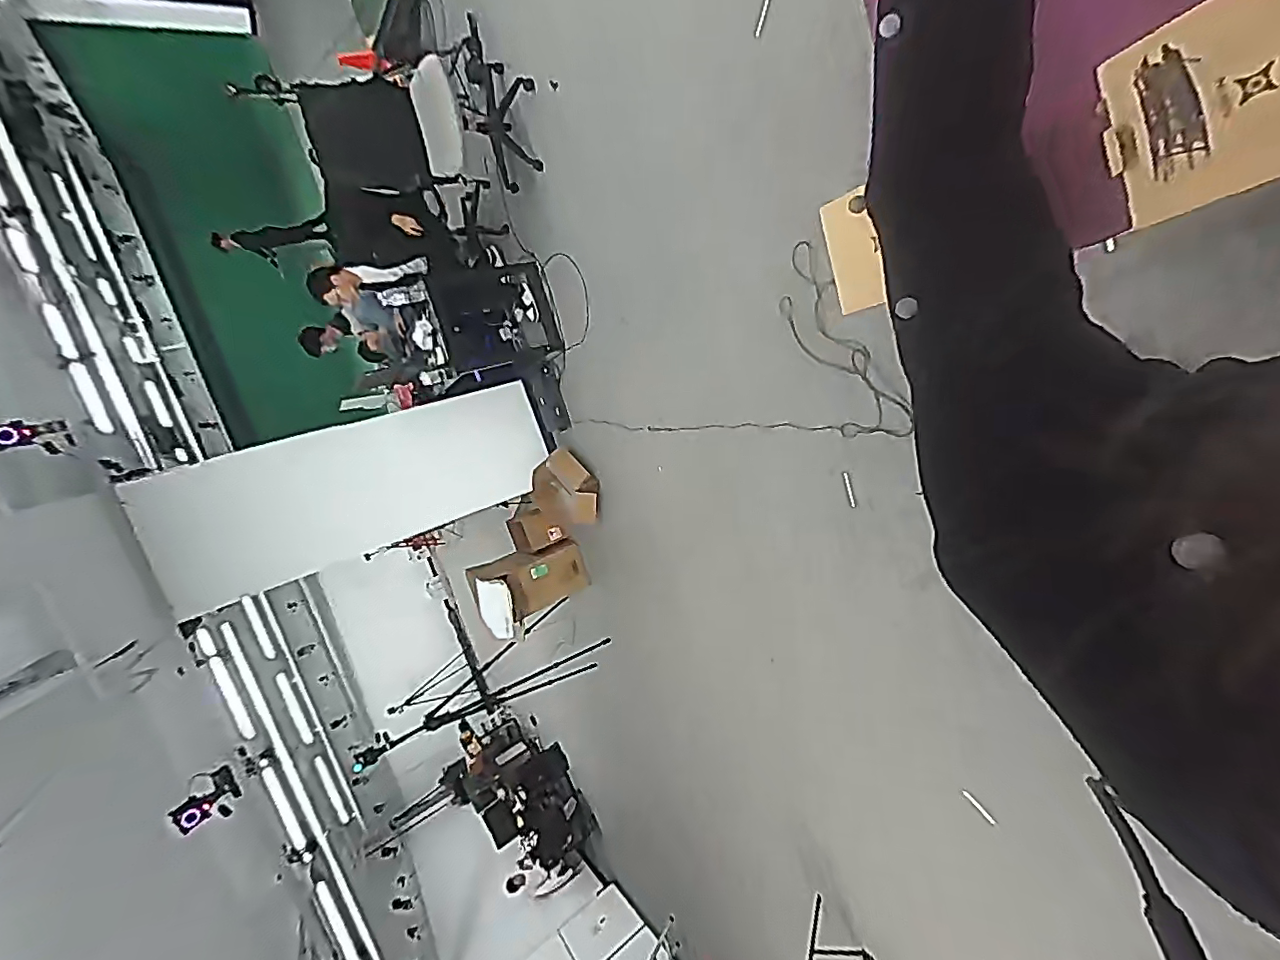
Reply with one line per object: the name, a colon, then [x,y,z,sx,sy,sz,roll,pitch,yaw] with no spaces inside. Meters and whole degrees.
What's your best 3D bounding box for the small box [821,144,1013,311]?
small box: [0.402,-0.361,0.790,0.179,0.176,0.168,-2,108,57]
